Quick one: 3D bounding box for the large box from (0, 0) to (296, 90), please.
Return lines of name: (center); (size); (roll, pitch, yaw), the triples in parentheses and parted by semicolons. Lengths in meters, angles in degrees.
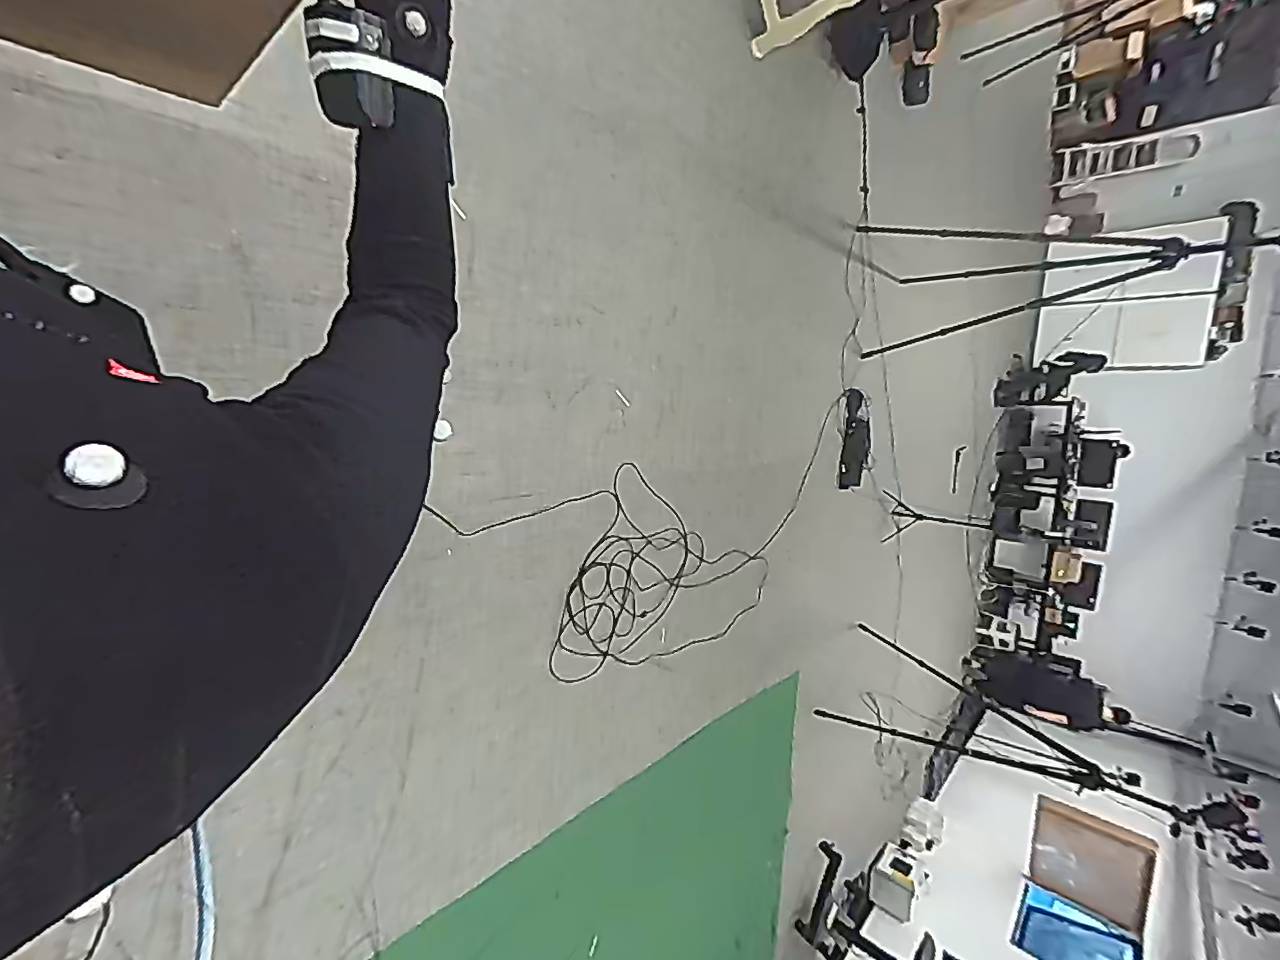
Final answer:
large box: (-0.427, -0.472, 0.259); (0.408, 0.320, 0.320); (-9, 109, -47)
